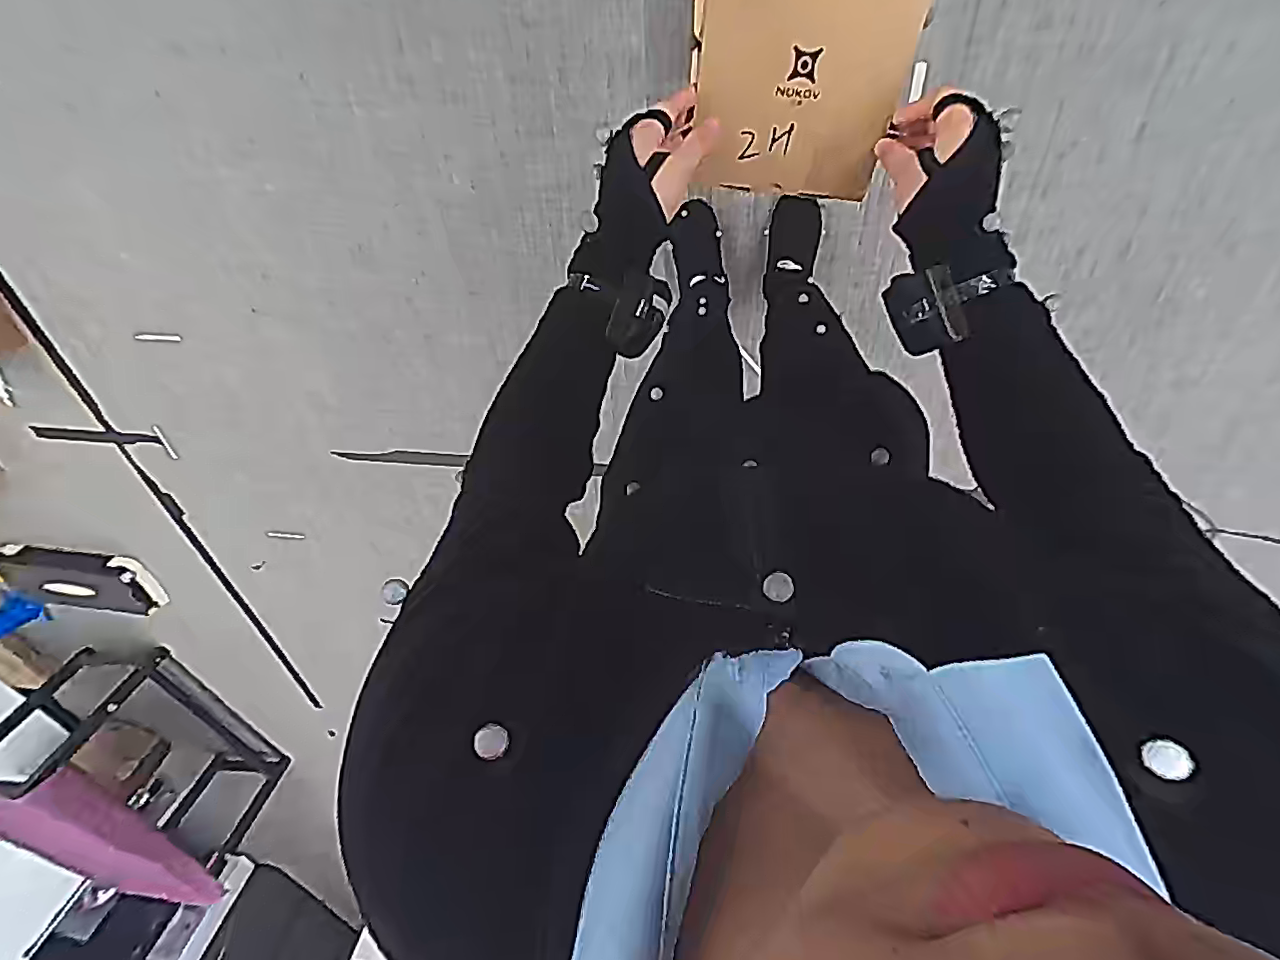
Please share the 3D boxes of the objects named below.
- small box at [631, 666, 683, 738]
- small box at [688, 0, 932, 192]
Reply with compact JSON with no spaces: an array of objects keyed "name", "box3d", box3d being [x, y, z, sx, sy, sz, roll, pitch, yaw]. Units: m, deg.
[{"name":"small box","box3d":[0.066,0.800,1.950,0.168,0.176,0.179,2,127,8]},{"name":"small box","box3d":[0.137,-0.390,0.488,0.168,0.176,0.179,7,136,1]}]
